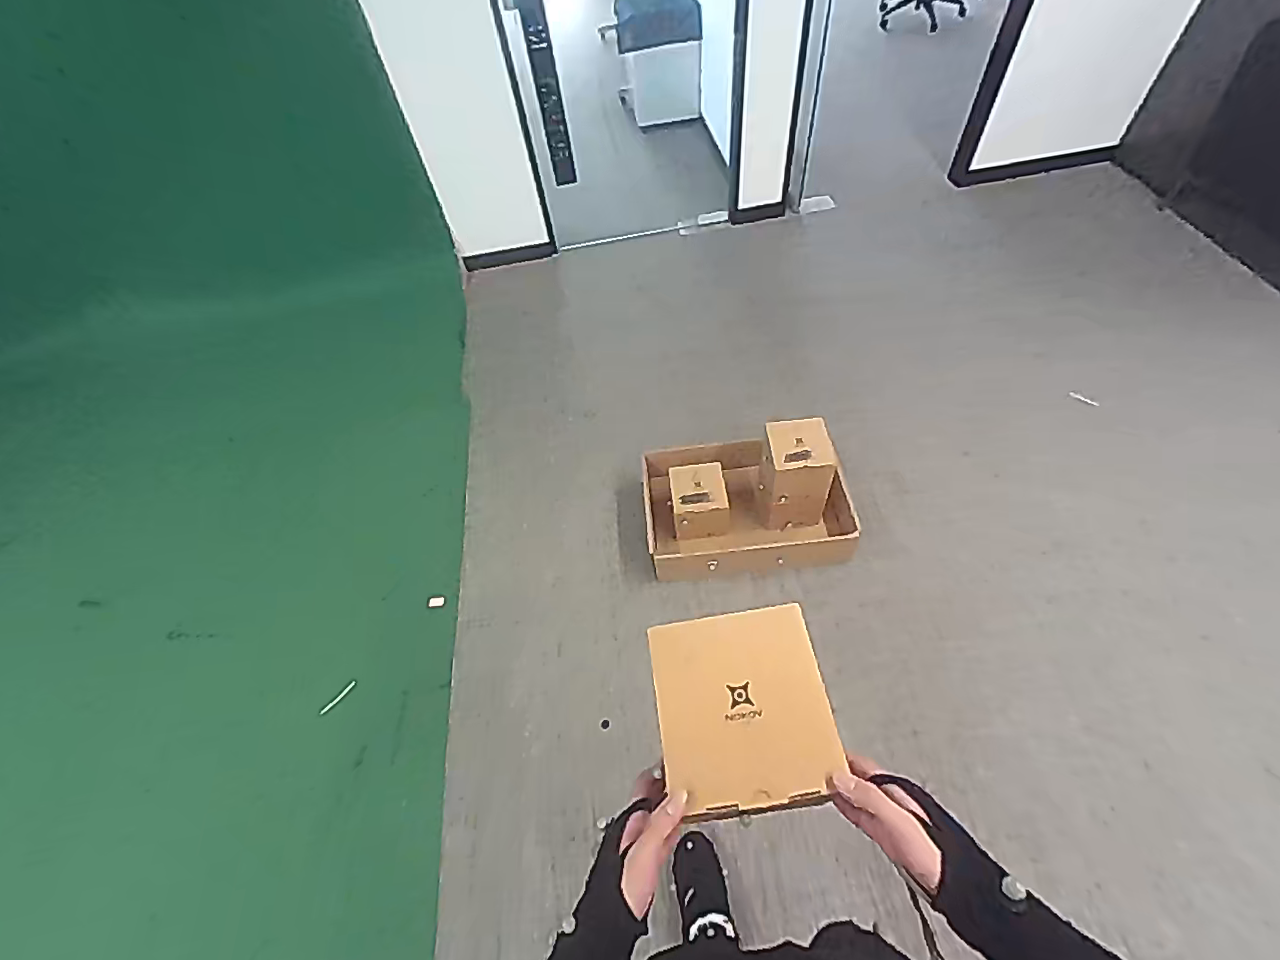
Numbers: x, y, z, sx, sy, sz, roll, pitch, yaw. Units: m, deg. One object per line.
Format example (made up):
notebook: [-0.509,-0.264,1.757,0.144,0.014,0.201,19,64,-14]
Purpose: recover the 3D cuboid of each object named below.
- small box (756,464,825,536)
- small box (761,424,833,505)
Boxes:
small box: [0.466,0.057,1.706,0.168,0.176,0.179,-7,54,3]
small box: [0.450,-0.039,1.574,0.168,0.176,0.179,-5,53,4]
